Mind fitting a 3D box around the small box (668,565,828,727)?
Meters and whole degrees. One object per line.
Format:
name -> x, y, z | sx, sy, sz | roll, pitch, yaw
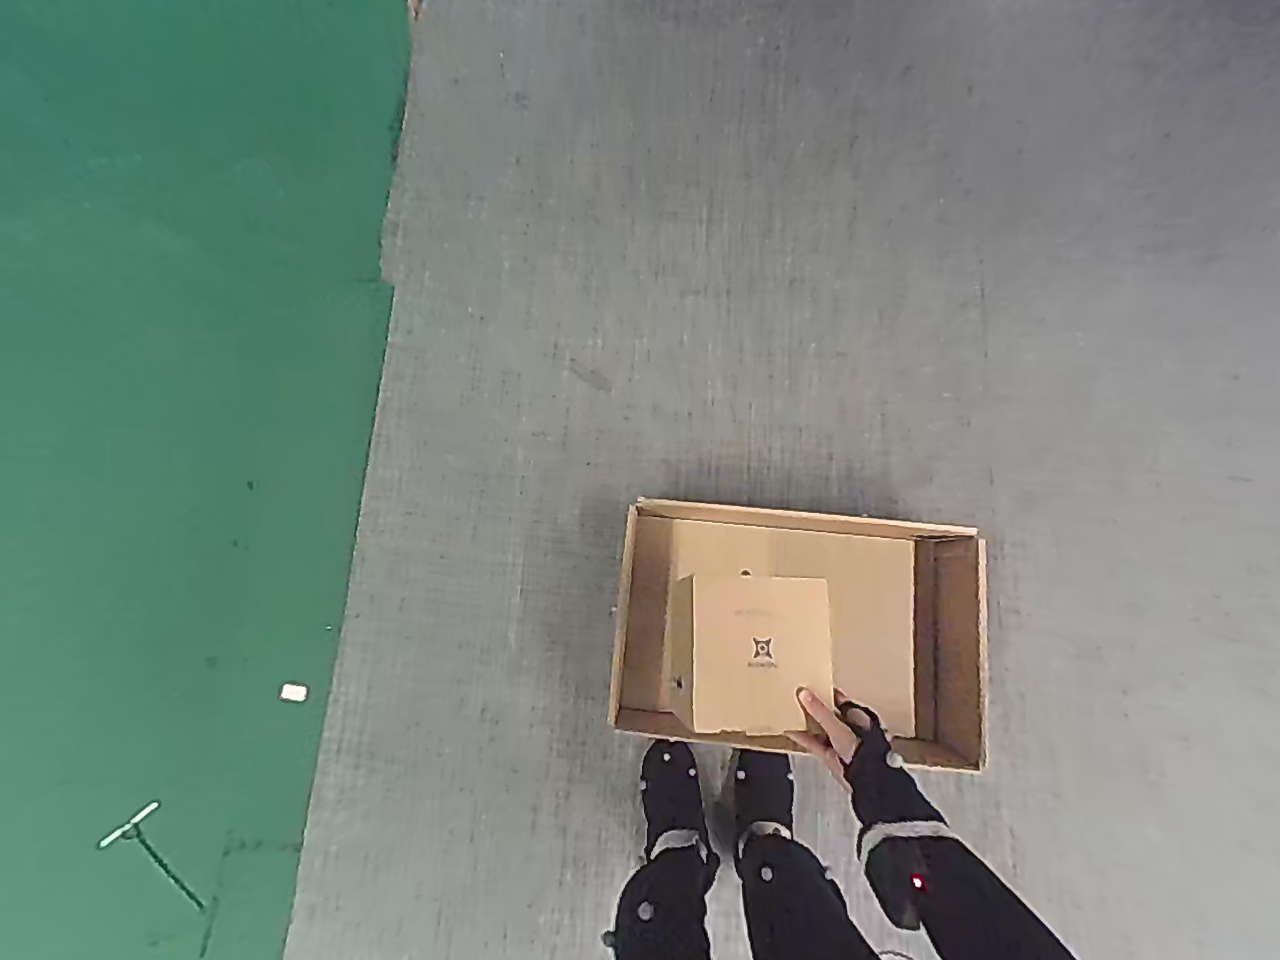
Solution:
small box -> 0.130, 0.207, 0.701 | 0.168, 0.176, 0.179 | 3, 76, -4
